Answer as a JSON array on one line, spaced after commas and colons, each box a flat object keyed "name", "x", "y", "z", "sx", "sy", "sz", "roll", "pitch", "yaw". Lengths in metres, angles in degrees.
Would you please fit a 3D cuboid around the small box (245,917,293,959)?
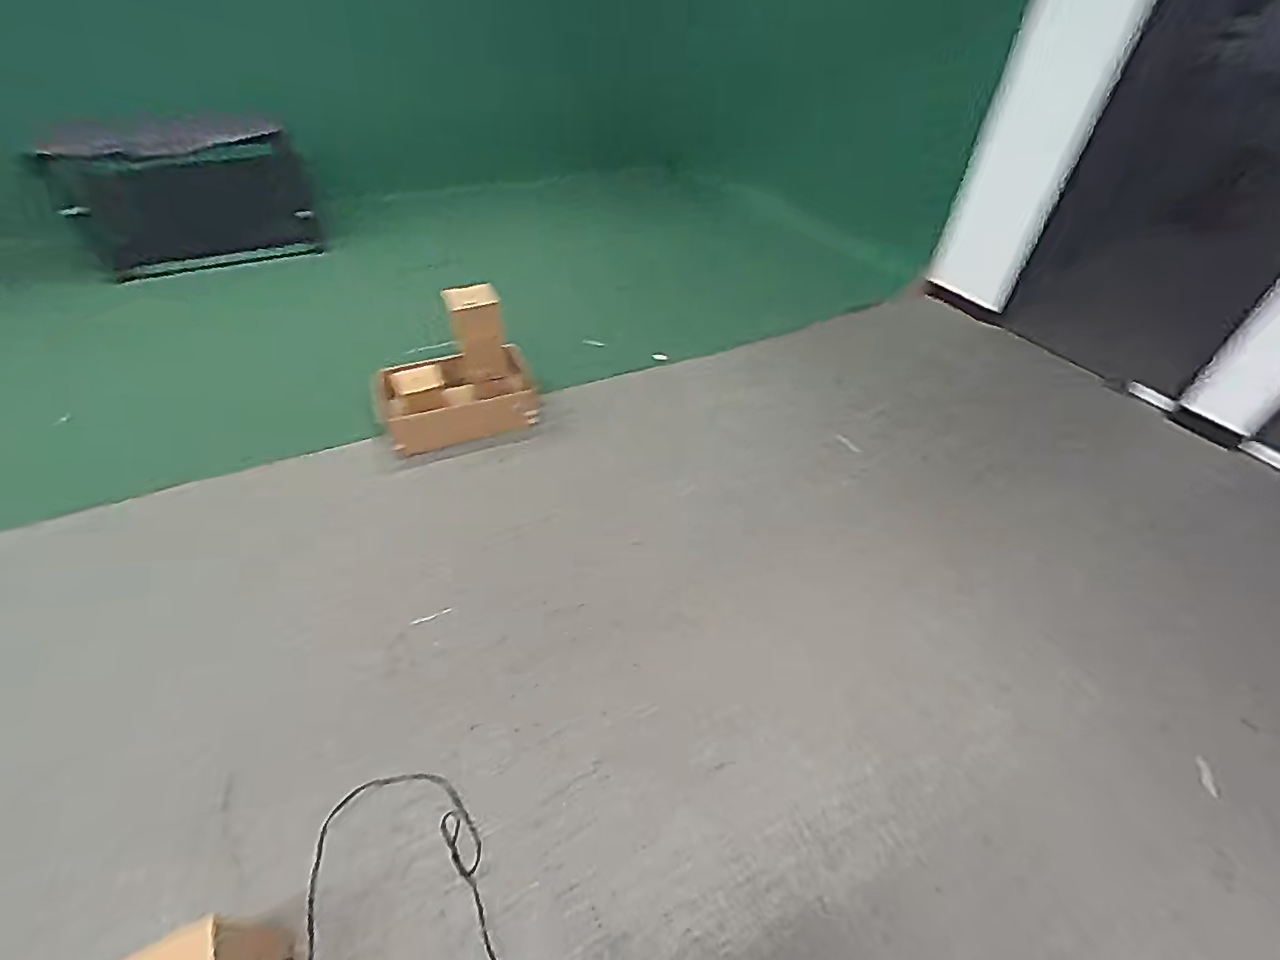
[{"name": "small box", "x": -0.768, "y": 0.970, "z": 1.008, "sx": 0.179, "sy": 0.176, "sz": 0.168, "roll": -24, "pitch": 48, "yaw": -23}]

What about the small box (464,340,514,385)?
[{"name": "small box", "x": -0.636, "y": -0.525, "z": 2.264, "sx": 0.168, "sy": 0.176, "sz": 0.179, "roll": -15, "pitch": 48, "yaw": -14}]

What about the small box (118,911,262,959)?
[{"name": "small box", "x": -0.755, "y": 0.861, "z": 0.885, "sx": 0.179, "sy": 0.176, "sz": 0.168, "roll": -20, "pitch": 48, "yaw": -21}]

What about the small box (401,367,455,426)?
[{"name": "small box", "x": -0.909, "y": -0.357, "z": 2.320, "sx": 0.168, "sy": 0.176, "sz": 0.179, "roll": -18, "pitch": 48, "yaw": -20}]

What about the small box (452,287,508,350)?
[{"name": "small box", "x": -0.634, "y": -0.641, "z": 2.148, "sx": 0.168, "sy": 0.176, "sz": 0.179, "roll": -17, "pitch": 47, "yaw": -16}]
